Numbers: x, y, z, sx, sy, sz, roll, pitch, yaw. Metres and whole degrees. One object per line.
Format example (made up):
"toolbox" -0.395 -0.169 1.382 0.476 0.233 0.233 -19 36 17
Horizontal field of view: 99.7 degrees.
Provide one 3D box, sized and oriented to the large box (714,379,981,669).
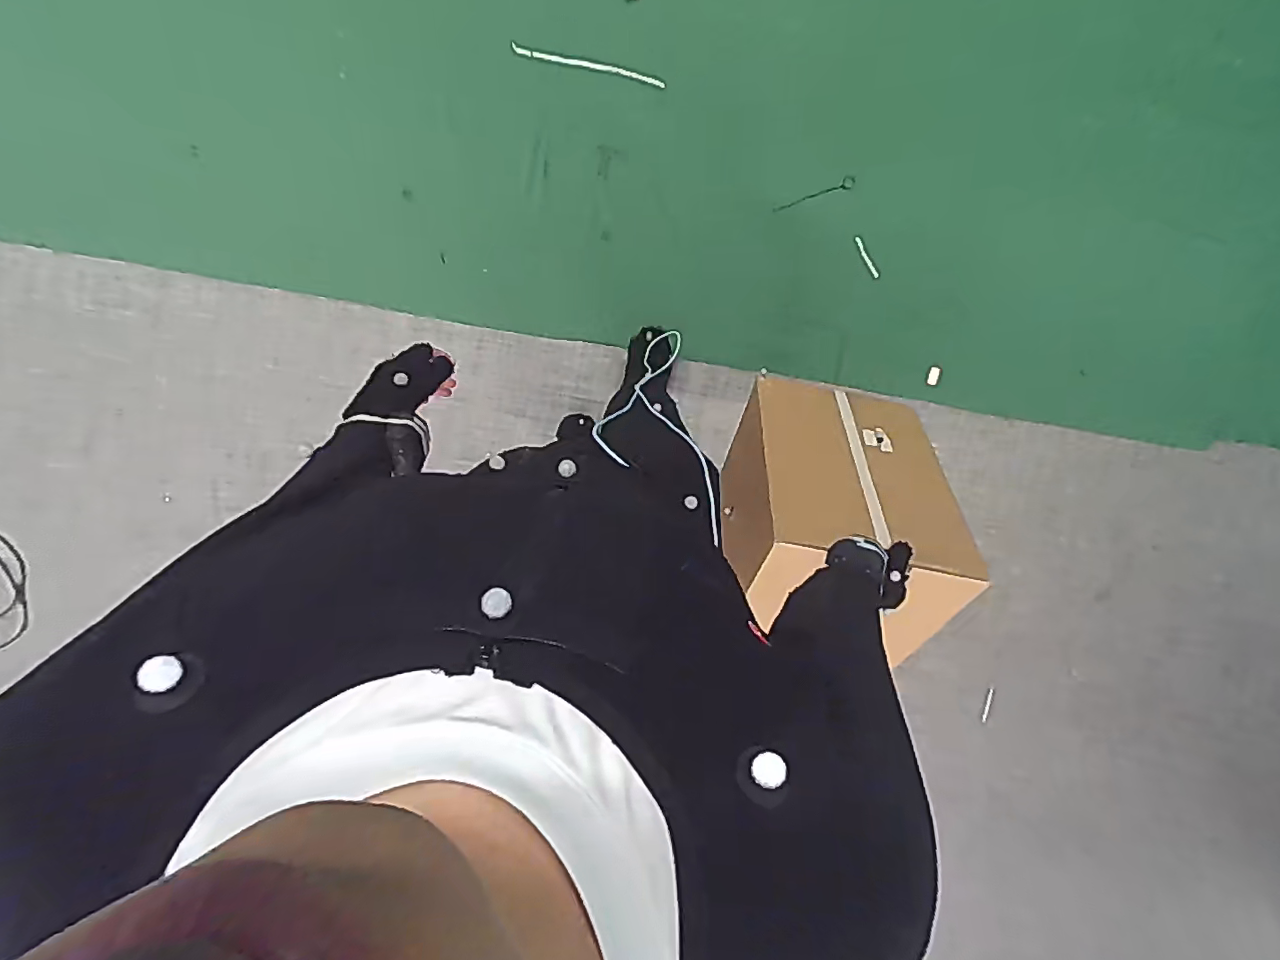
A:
"large box" 0.323 0.078 0.993 0.320 0.408 0.320 12 134 -4
